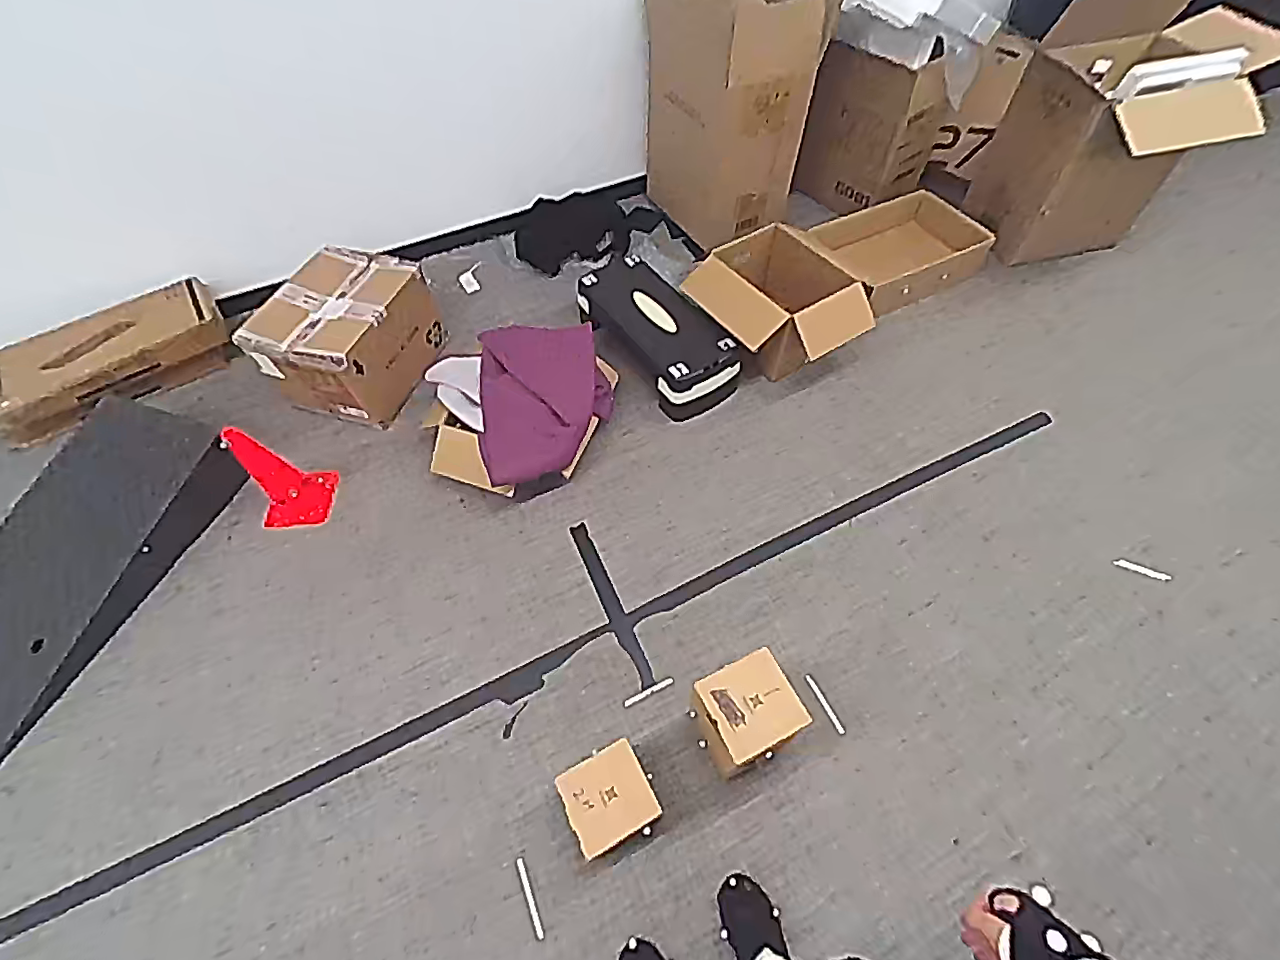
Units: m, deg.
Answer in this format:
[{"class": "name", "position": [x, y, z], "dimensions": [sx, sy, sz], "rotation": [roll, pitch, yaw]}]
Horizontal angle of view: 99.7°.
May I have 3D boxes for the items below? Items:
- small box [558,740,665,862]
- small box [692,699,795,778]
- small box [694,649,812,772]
[{"class": "small box", "position": [-0.060, 0.701, 1.188], "dimensions": [0.179, 0.176, 0.168], "rotation": [-26, 59, -13]}, {"class": "small box", "position": [0.233, 0.573, 1.264], "dimensions": [0.168, 0.176, 0.179], "rotation": [-21, 60, -12]}, {"class": "small box", "position": [0.224, 0.484, 1.125], "dimensions": [0.179, 0.176, 0.168], "rotation": [-22, 59, -13]}]
